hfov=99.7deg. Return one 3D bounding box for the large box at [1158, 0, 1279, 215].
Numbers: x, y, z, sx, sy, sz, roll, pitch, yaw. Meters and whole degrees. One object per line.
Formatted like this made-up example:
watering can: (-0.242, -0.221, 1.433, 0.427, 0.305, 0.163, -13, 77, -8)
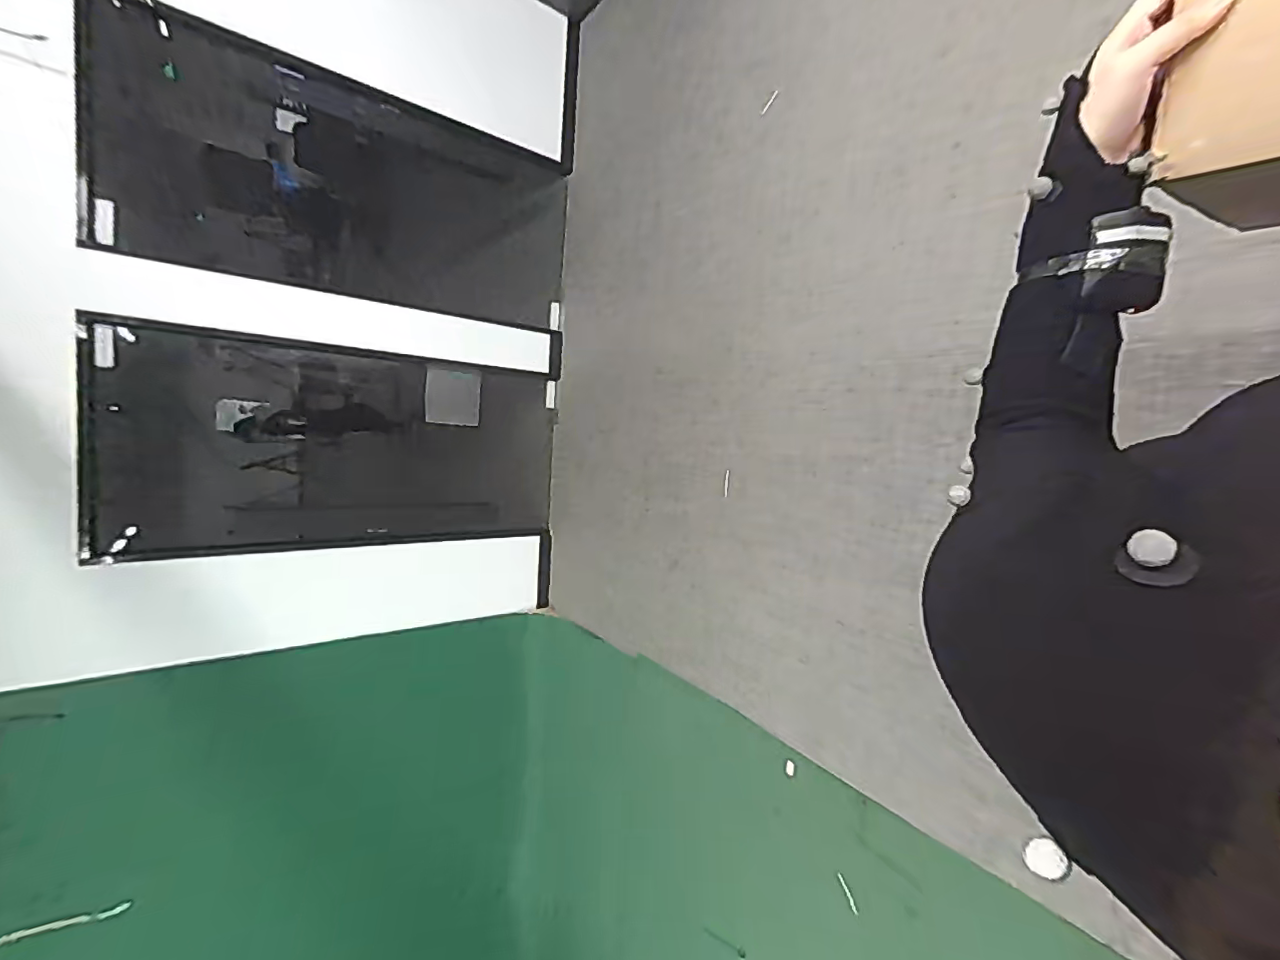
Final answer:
large box: (0.612, -0.364, 0.285, 0.408, 0.320, 0.320, 17, 112, 55)
